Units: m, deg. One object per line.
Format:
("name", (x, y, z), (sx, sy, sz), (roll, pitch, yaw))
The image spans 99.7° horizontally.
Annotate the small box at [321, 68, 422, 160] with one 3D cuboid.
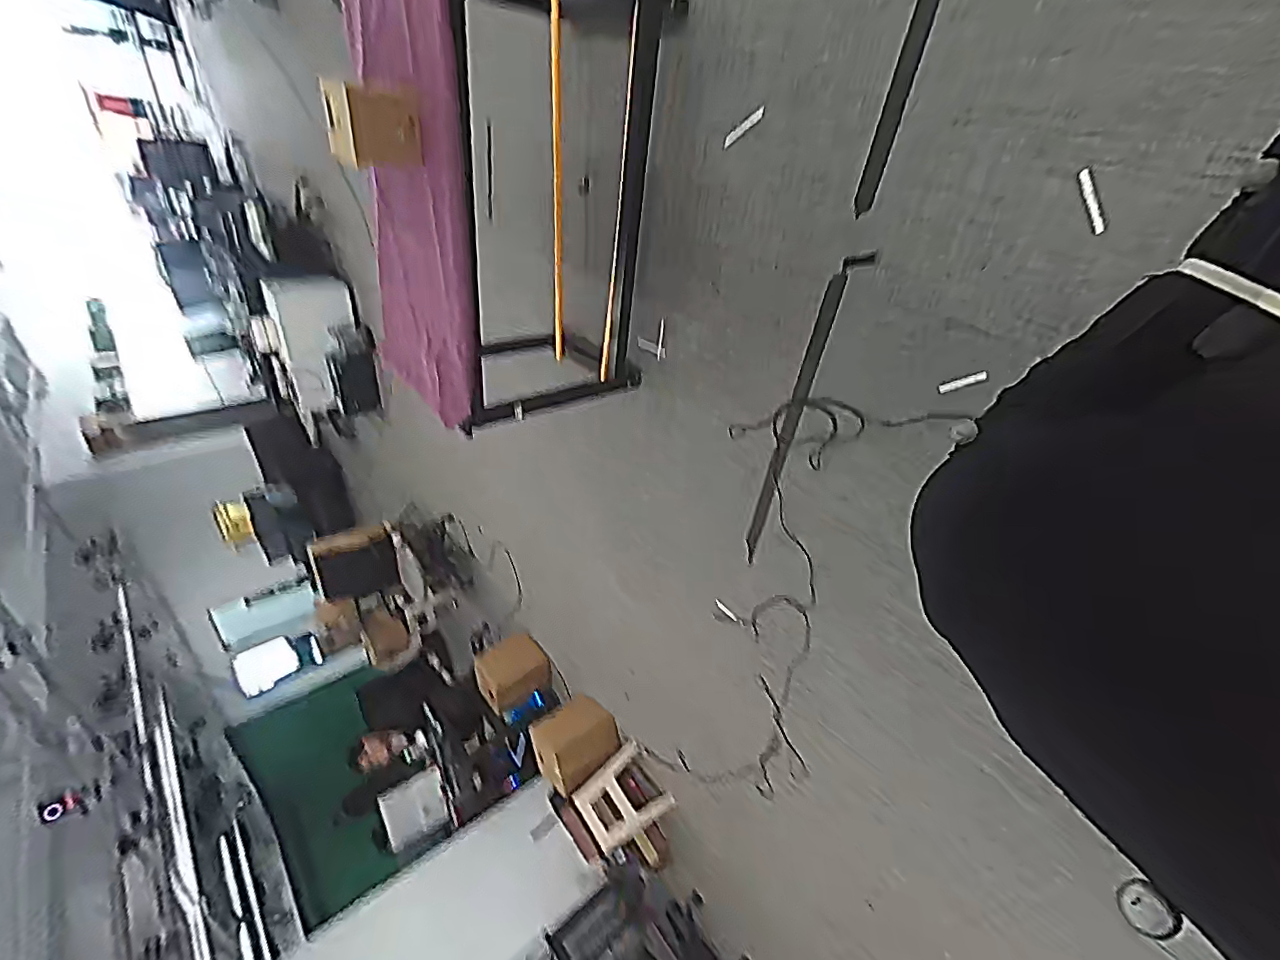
("small box", (-0.660, -0.903, 1.342), (0.179, 0.176, 0.168), (38, 135, 34))
